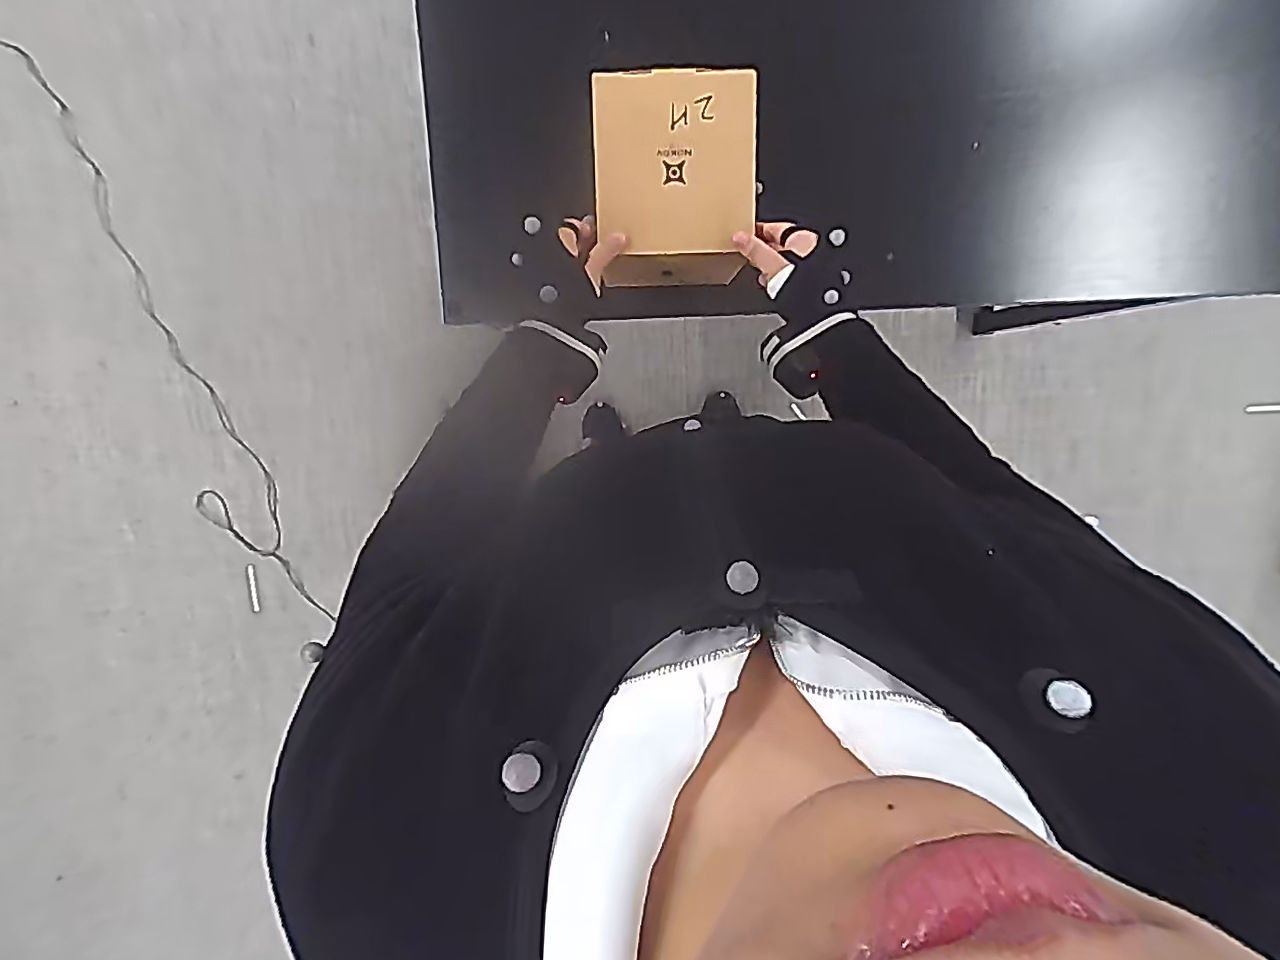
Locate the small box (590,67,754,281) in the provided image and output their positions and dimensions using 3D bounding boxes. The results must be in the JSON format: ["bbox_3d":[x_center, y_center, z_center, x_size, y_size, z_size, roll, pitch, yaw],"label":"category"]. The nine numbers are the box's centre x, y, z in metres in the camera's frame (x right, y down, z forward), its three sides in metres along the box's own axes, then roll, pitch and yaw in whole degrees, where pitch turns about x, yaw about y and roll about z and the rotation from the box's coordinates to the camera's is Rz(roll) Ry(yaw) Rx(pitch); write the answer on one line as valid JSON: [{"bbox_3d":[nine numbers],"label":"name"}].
[{"bbox_3d":[0.034,-0.334,0.628,0.168,0.176,0.179,-2,98,0],"label":"small box"}]
